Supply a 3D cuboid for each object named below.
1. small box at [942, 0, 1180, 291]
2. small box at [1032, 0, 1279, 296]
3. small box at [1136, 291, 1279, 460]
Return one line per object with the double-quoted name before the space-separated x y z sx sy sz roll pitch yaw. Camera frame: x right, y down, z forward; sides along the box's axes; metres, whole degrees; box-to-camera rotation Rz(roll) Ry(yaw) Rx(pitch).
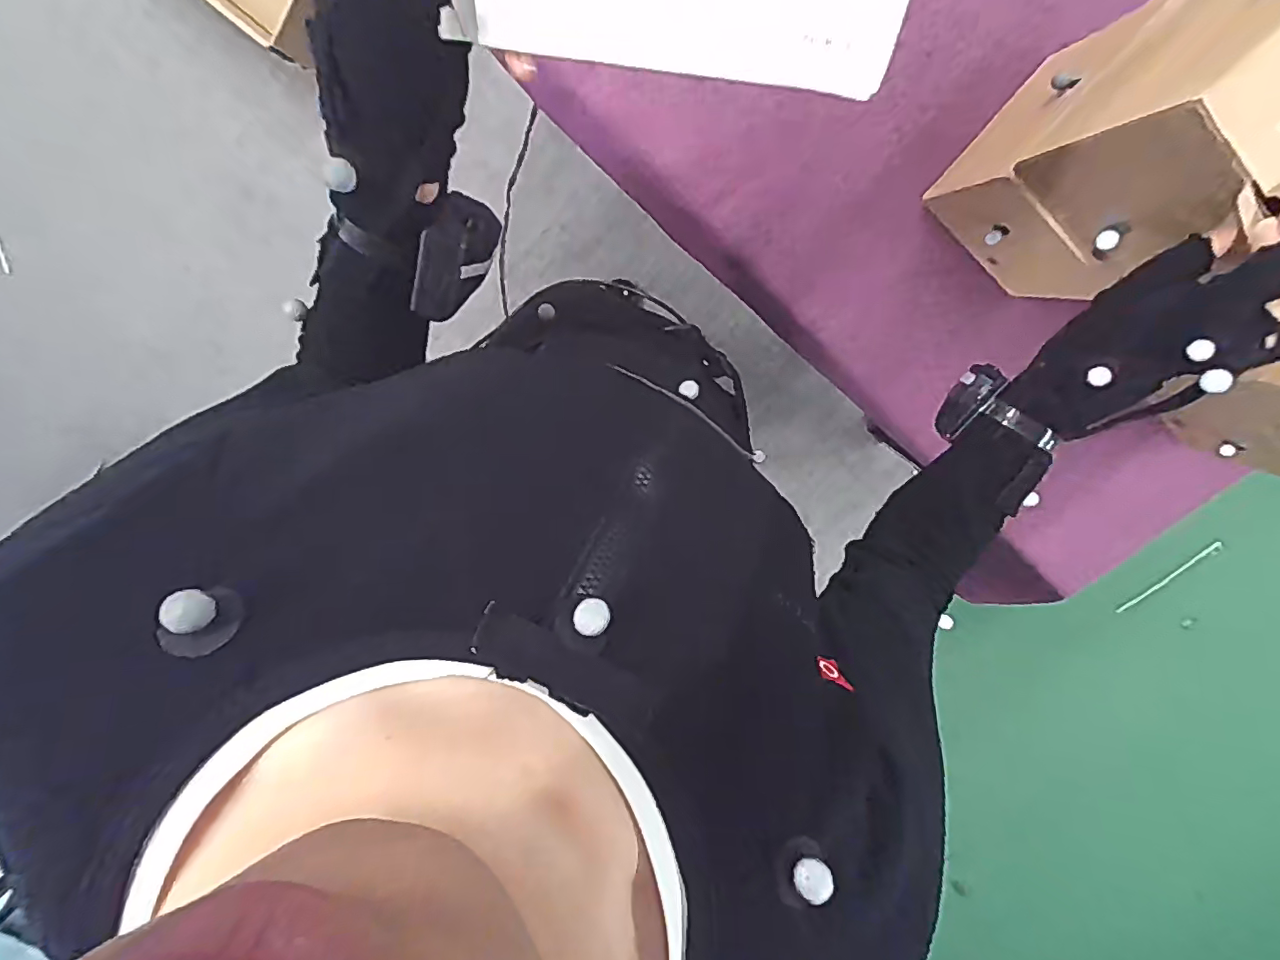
"small box" 0.431 -0.306 0.524 0.168 0.176 0.179 38 107 -11
"small box" 0.432 -0.251 0.368 0.168 0.176 0.179 41 106 -12
"small box" 0.696 -0.133 0.577 0.168 0.176 0.179 41 107 -13
